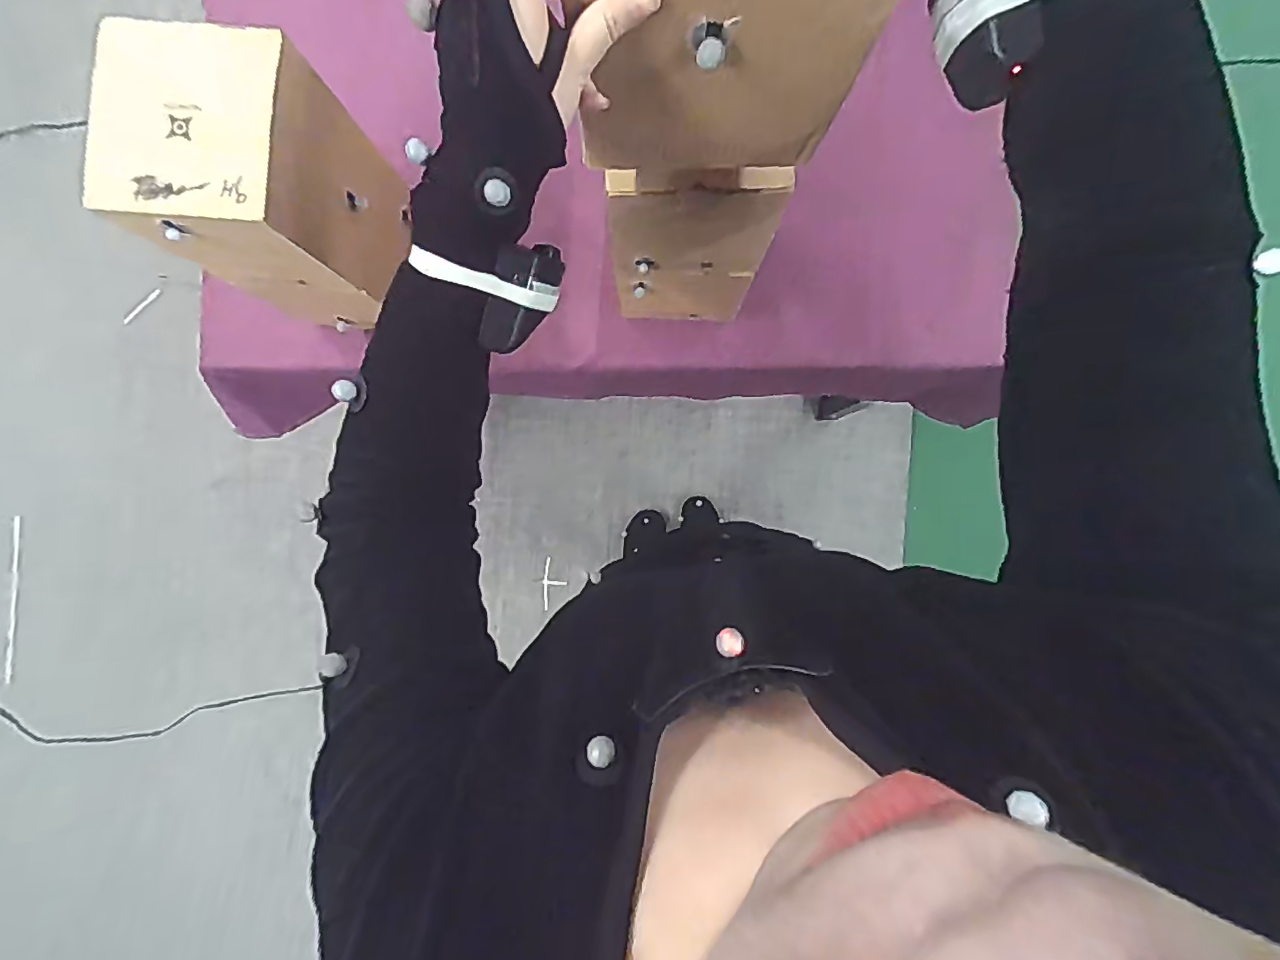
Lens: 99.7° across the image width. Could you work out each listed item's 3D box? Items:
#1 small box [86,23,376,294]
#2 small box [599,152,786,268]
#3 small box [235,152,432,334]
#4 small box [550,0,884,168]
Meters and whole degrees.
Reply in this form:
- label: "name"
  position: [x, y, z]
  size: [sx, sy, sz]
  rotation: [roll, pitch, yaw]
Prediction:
- label: "small box"
  position: [-0.401, -0.316, 0.562]
  size: [0.168, 0.176, 0.179]
  rotation: [5, 88, 3]
- label: "small box"
  position: [0.049, -0.331, 0.552]
  size: [0.168, 0.176, 0.179]
  rotation: [0, 87, 1]
- label: "small box"
  position: [-0.396, -0.312, 0.727]
  size: [0.168, 0.176, 0.179]
  rotation: [5, 89, 2]
- label: "small box"
  position: [0.041, -0.326, 0.345]
  size: [0.179, 0.176, 0.168]
  rotation: [-1, 90, 2]
